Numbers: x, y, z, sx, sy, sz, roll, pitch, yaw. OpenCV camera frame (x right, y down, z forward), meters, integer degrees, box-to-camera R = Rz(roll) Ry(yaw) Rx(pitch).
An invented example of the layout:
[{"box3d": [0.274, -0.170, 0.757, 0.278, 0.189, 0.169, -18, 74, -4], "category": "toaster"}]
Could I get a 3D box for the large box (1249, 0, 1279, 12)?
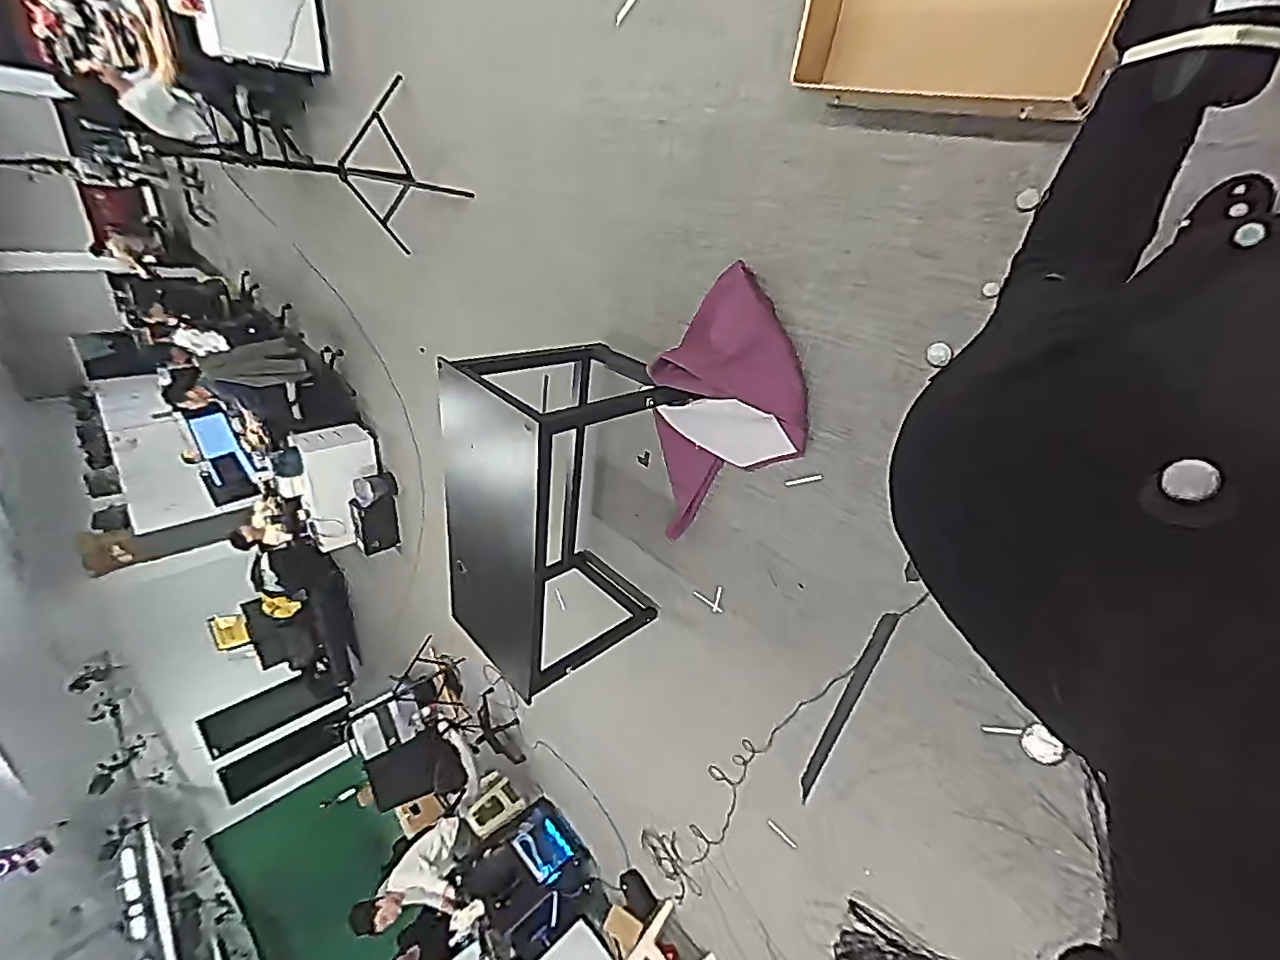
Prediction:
[{"box3d": [0.600, -0.463, 0.230, 0.408, 0.320, 0.320, 20, 132, 42], "category": "large box"}]
